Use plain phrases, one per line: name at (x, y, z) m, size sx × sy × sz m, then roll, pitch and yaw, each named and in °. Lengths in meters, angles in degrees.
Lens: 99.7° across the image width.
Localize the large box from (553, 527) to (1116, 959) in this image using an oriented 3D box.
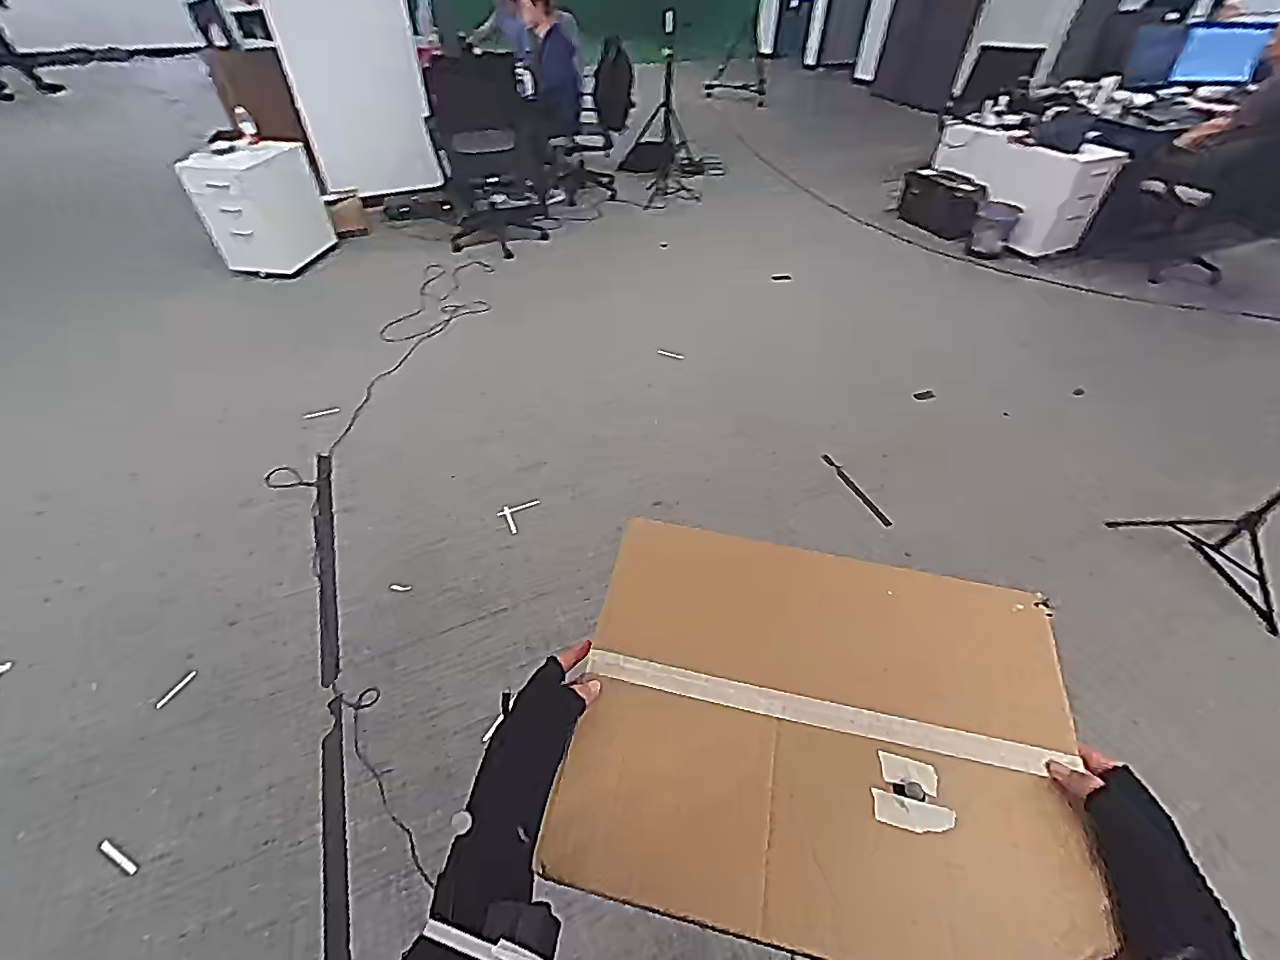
large box at (0.156, 0.290, 0.584) m, size 0.408 × 0.320 × 0.320 m, roll 11°, pitch 54°, yaw 8°
